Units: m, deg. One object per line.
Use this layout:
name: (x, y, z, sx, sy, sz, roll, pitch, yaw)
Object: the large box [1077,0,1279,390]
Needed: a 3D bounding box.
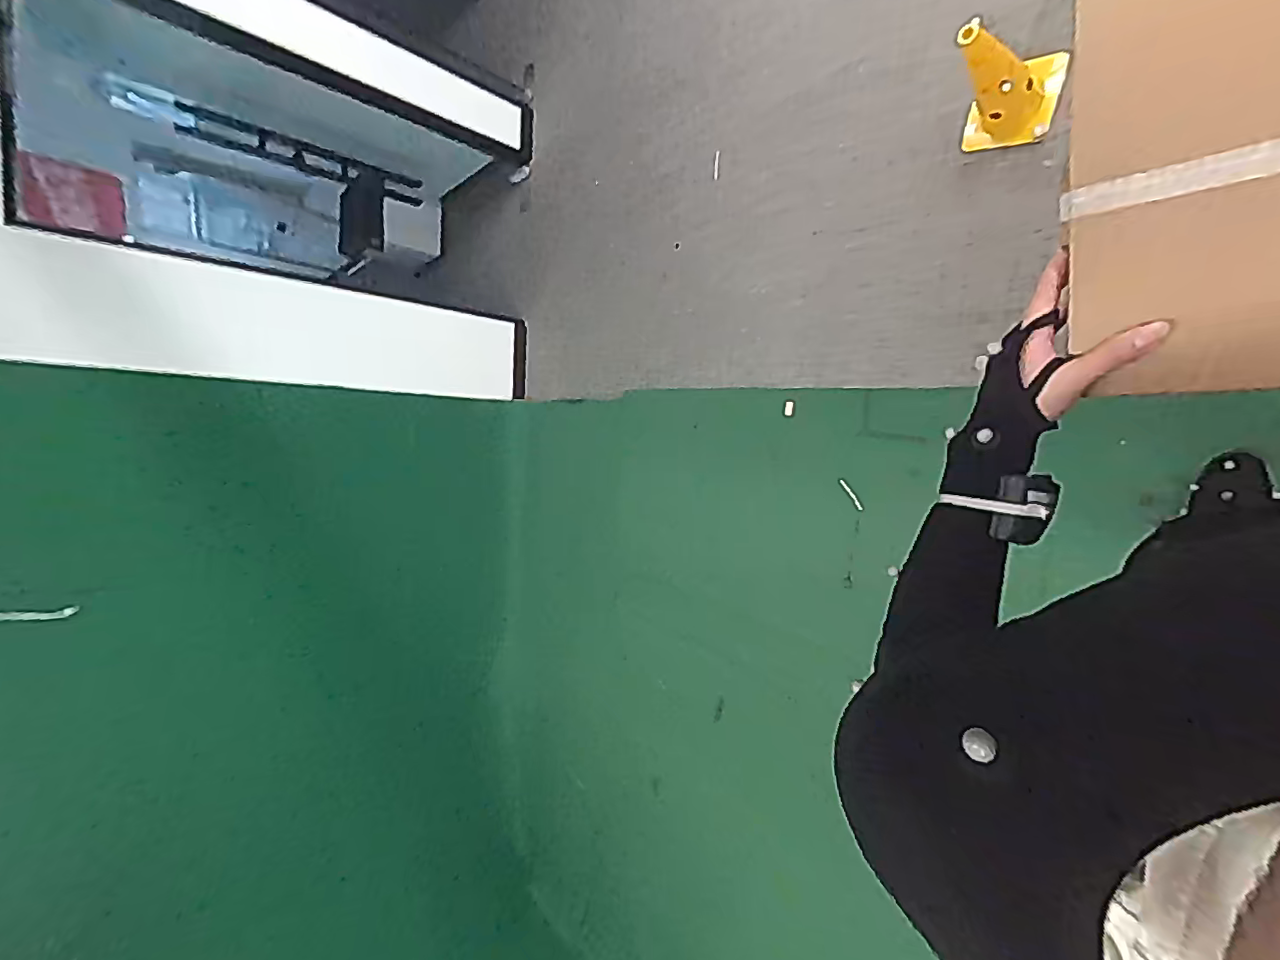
large box: (0.596, -0.257, 0.401, 0.408, 0.320, 0.320, 4, 109, 44)
